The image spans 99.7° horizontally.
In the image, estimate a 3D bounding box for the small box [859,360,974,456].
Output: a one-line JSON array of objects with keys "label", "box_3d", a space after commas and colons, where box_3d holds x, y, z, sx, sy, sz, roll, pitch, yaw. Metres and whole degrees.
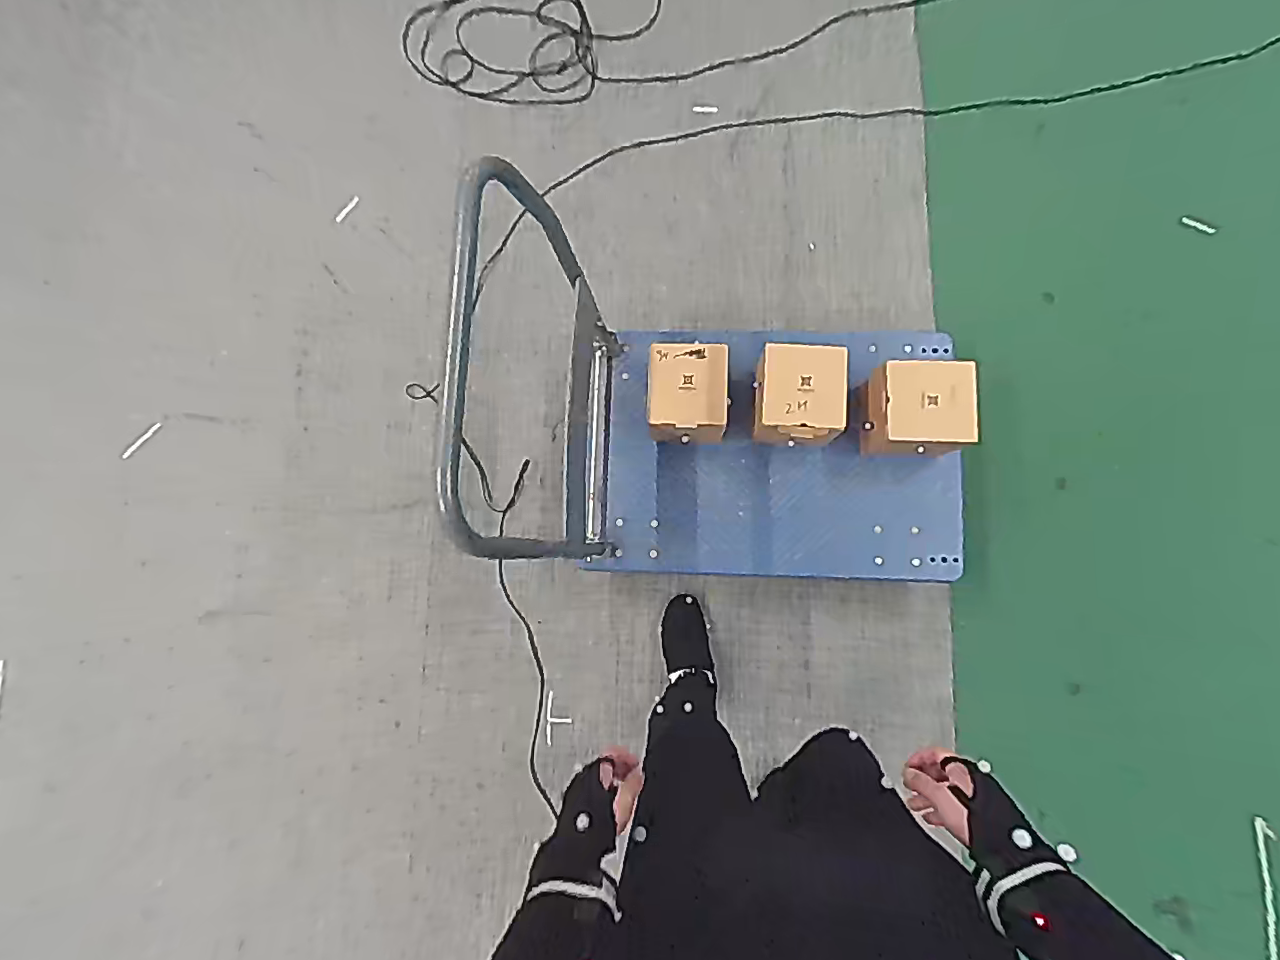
[{"label": "small box", "box_3d": [0.579, -0.147, 1.152, 0.179, 0.176, 0.168, 3, 83, 5]}]

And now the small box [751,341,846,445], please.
[{"label": "small box", "box_3d": [0.337, -0.183, 1.173, 0.168, 0.176, 0.179, 5, 83, 5]}]

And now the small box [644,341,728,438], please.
[{"label": "small box", "box_3d": [0.101, -0.192, 1.191, 0.168, 0.176, 0.179, 3, 83, 4]}]
